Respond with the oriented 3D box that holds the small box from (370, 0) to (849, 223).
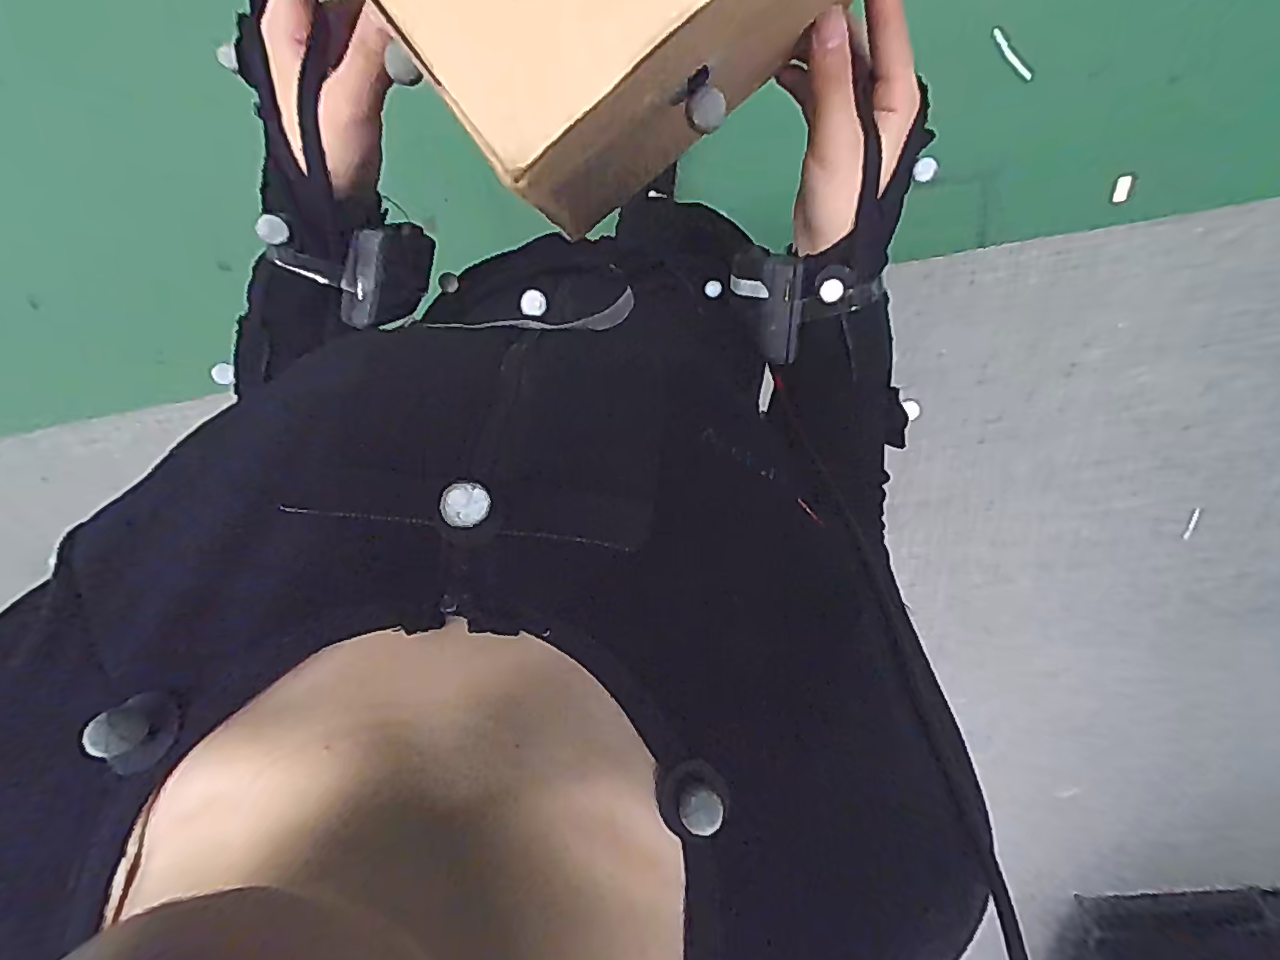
[{"bbox_3d":[-0.013,-0.218,0.189,0.179,0.176,0.168,-35,106,12],"label":"small box"}]
